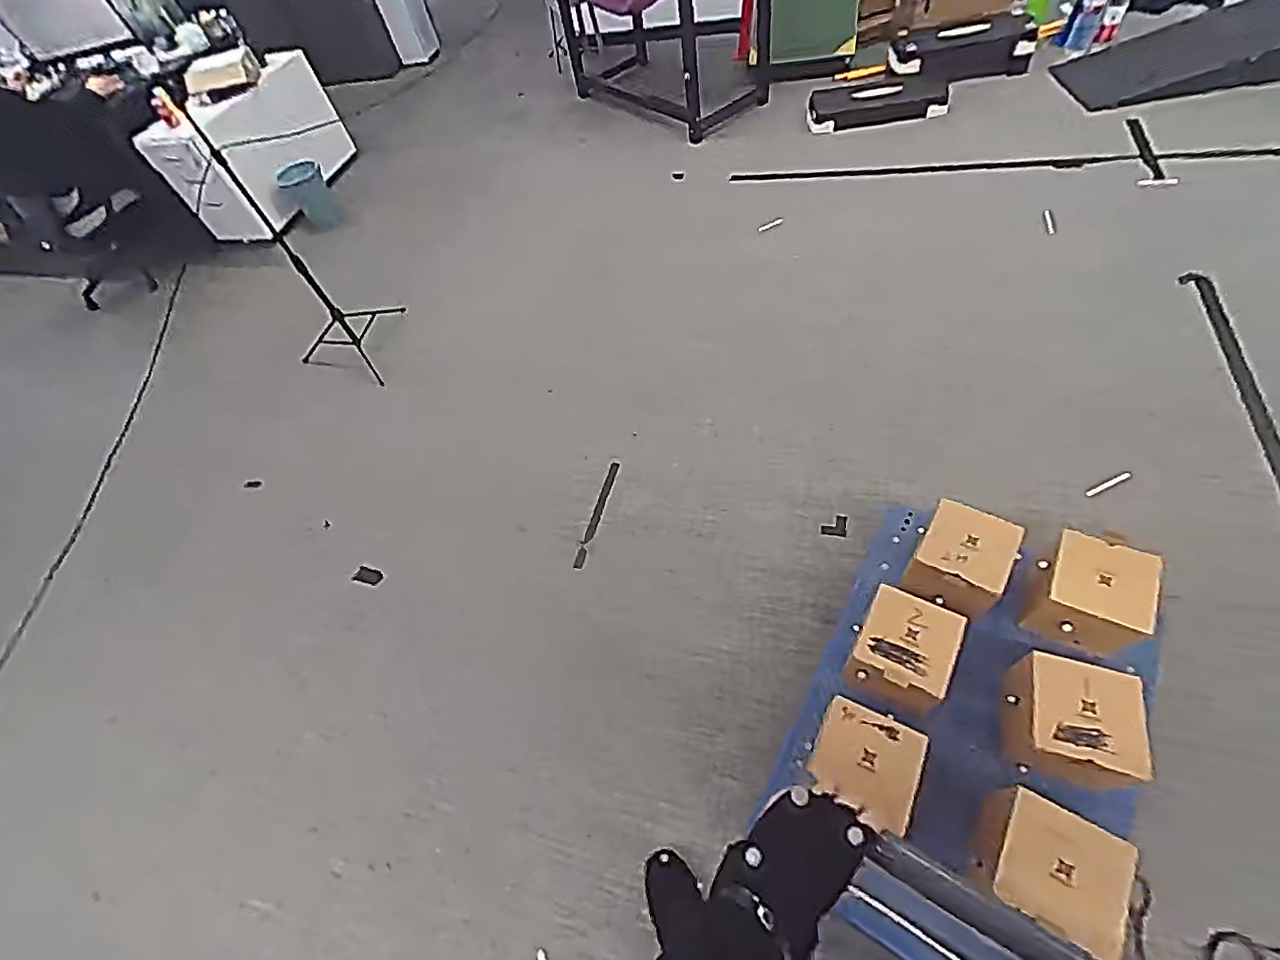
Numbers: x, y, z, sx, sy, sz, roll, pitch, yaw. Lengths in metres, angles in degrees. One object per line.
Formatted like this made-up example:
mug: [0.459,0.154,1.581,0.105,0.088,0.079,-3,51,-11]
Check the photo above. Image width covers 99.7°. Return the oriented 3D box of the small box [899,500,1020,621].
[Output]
small box: [0.701,0.181,1.203,0.168,0.176,0.179,25,65,26]

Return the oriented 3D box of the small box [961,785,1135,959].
small box: [0.661,0.645,0.896,0.168,0.176,0.179,25,64,25]

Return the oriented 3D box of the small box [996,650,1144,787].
small box: [0.785,0.448,1.006,0.168,0.176,0.179,12,59,19]

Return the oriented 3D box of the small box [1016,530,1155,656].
small box: [0.915,0.239,1.123,0.168,0.176,0.179,21,62,24]

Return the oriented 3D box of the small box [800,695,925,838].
small box: [0.409,0.540,1.017,0.168,0.176,0.179,21,62,22]
